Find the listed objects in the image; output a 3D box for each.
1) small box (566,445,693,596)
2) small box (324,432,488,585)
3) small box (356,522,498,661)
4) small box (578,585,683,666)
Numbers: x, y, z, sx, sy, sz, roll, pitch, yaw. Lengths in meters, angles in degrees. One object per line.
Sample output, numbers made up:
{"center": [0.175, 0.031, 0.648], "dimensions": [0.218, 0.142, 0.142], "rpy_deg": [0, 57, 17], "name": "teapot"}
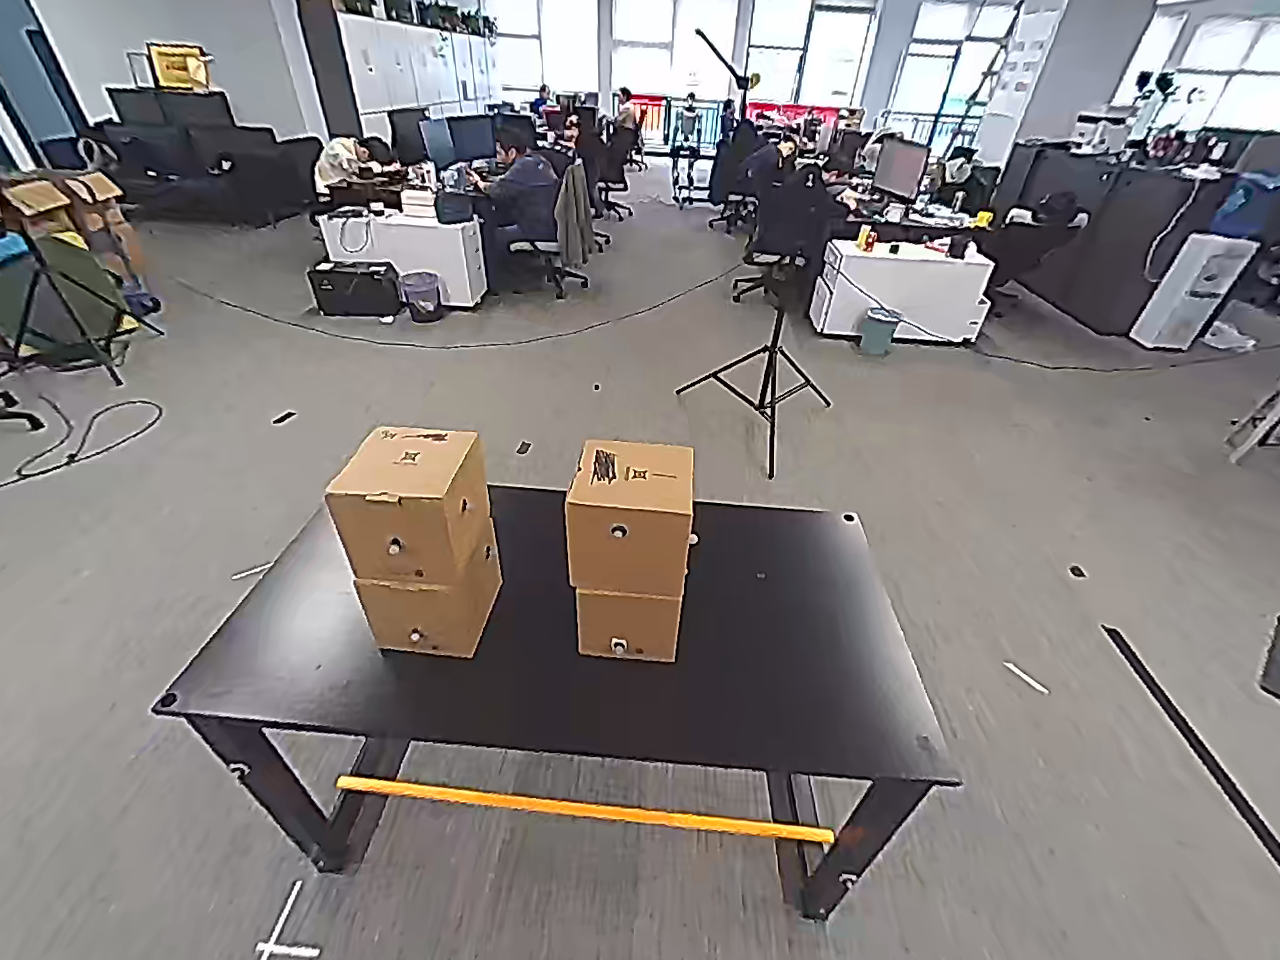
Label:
{"center": [-0.011, 0.063, 0.845], "dimensions": [0.179, 0.176, 0.168], "rpy_deg": [5, 37, 3], "name": "small box"}
{"center": [-0.345, 0.045, 0.841], "dimensions": [0.168, 0.176, 0.179], "rpy_deg": [4, 37, 0], "name": "small box"}
{"center": [-0.351, 0.181, 0.931], "dimensions": [0.168, 0.176, 0.179], "rpy_deg": [5, 37, 3], "name": "small box"}
{"center": [-0.014, 0.196, 0.942], "dimensions": [0.168, 0.176, 0.179], "rpy_deg": [3, 37, 1], "name": "small box"}
